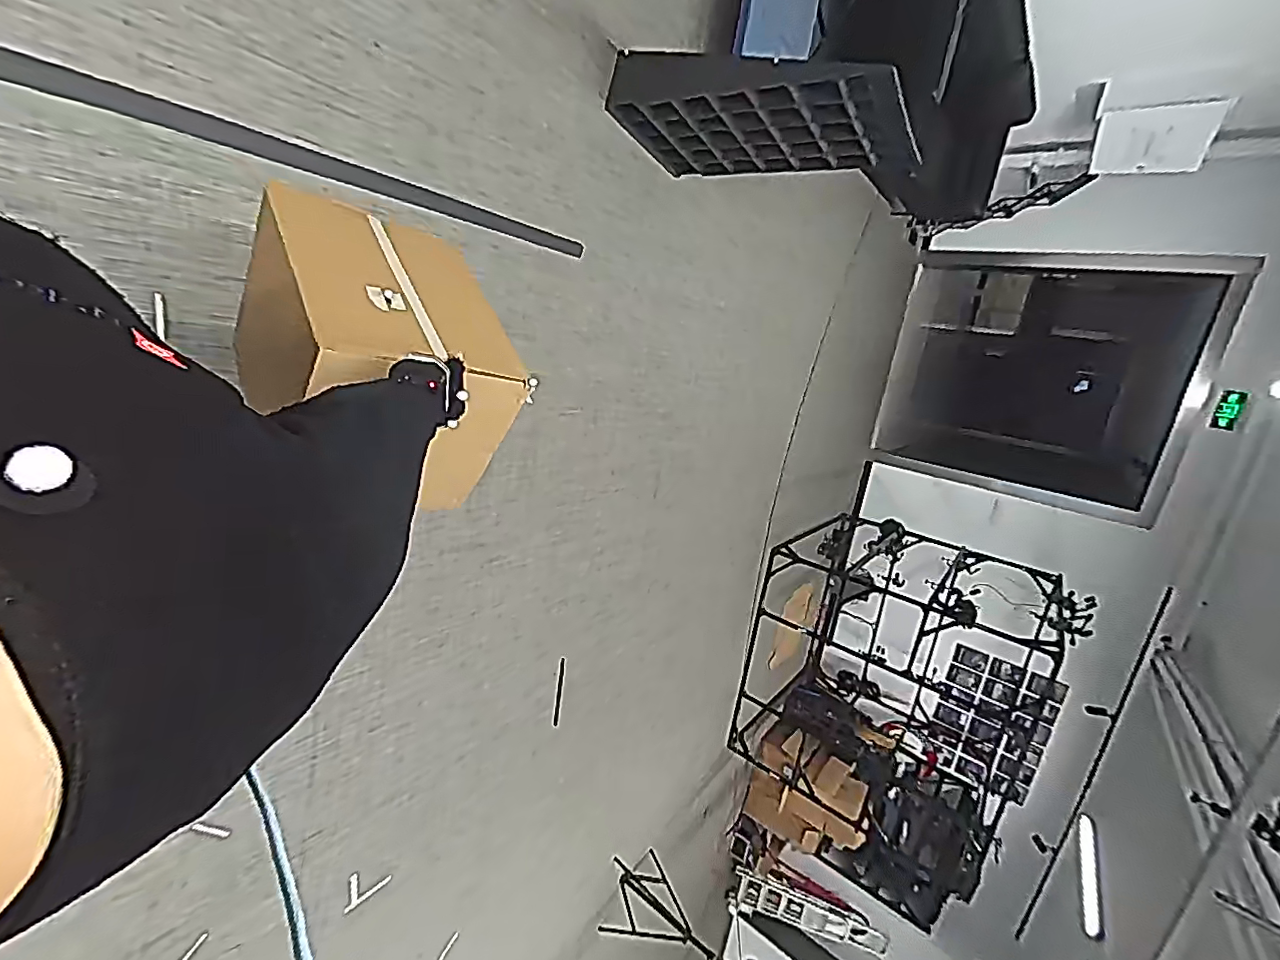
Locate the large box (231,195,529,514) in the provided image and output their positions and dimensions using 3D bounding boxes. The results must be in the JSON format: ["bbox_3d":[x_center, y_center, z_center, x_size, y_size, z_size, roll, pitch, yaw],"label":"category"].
[{"bbox_3d":[-0.463,-0.193,0.935,0.320,0.408,0.320,1,139,-48],"label":"large box"}]
